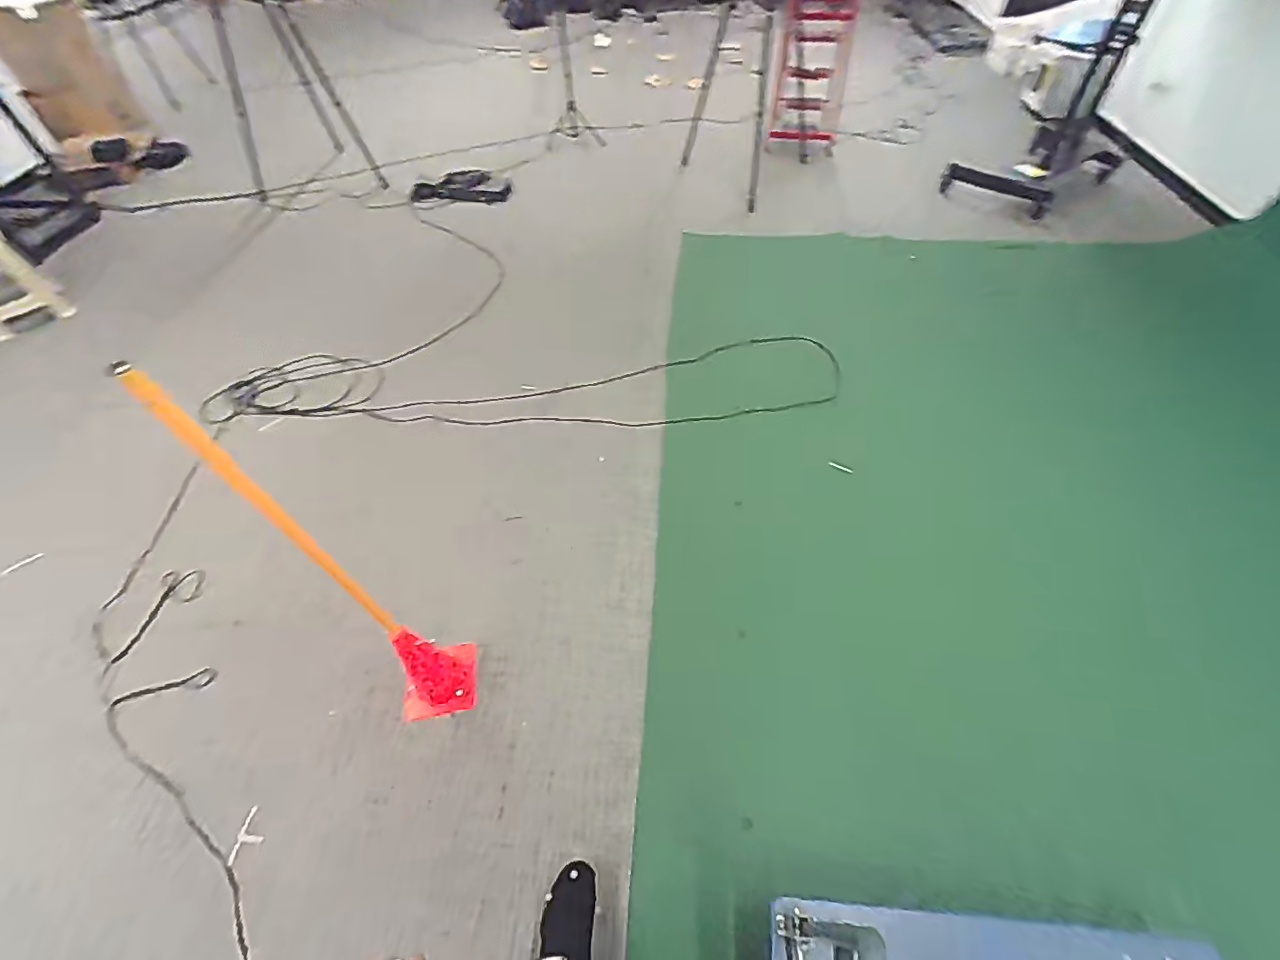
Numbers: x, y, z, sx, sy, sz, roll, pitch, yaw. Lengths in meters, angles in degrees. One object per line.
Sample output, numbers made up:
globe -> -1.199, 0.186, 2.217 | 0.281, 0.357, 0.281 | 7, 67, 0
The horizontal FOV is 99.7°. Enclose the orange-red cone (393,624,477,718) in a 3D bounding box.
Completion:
orange-red cone -> -0.583, 0.479, 1.455 | 0.198, 0.360, 0.199 | -8, 50, -5
